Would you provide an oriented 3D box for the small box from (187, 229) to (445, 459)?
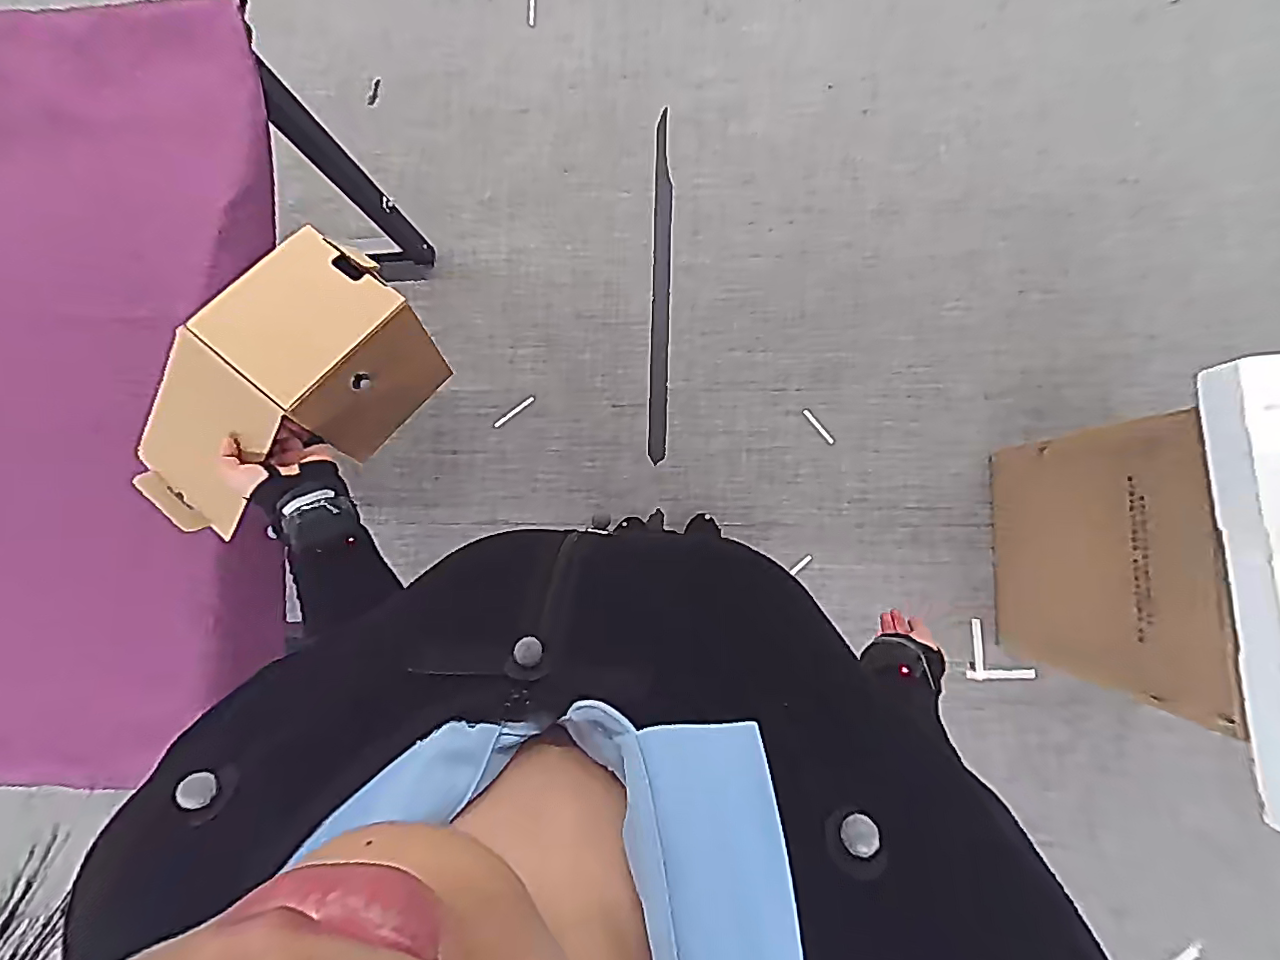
[{"bbox_3d":[-0.373,-0.153,0.662,0.168,0.176,0.179,37,74,10],"label":"small box"}]
